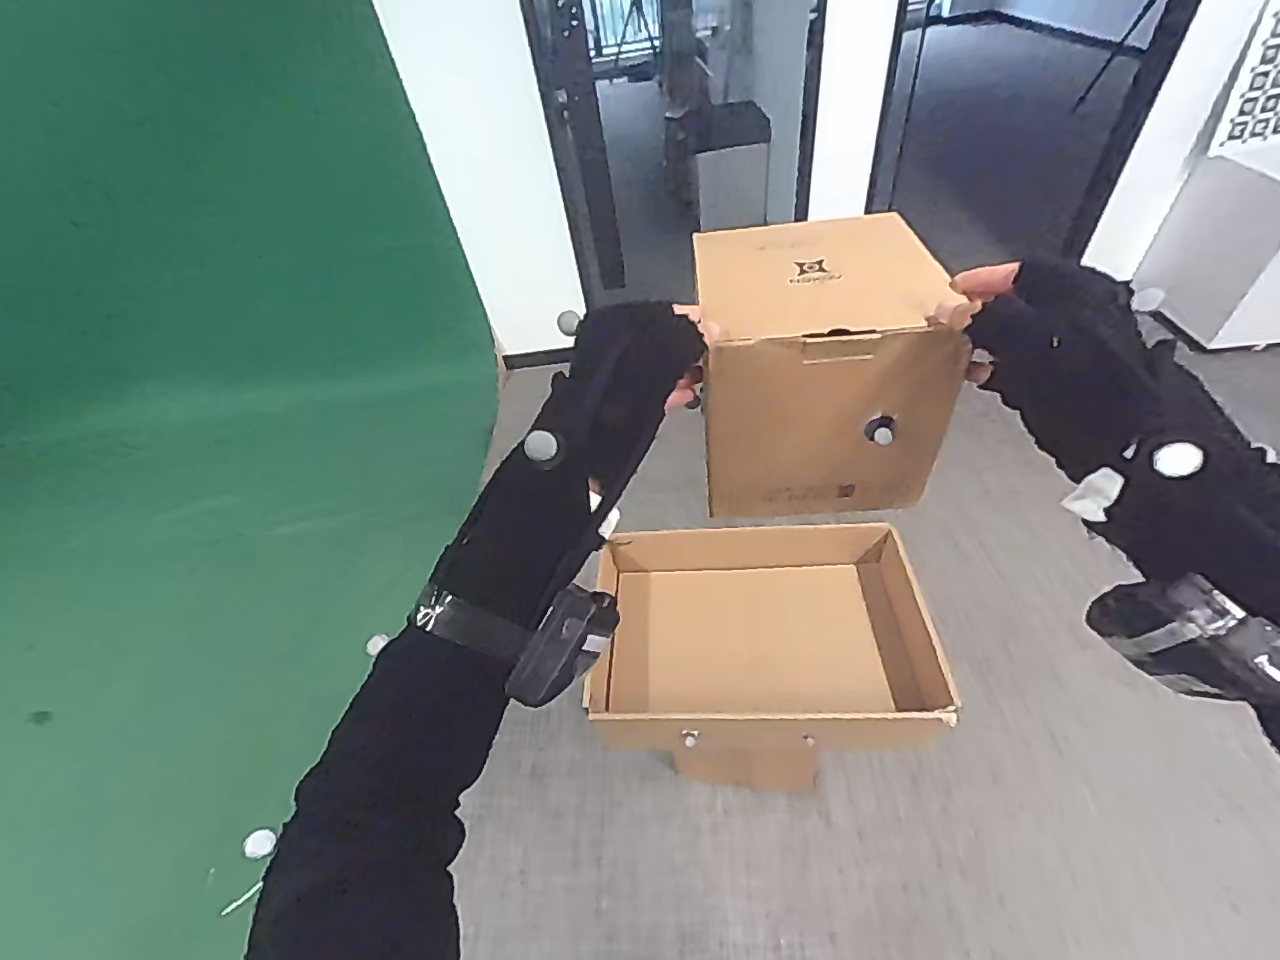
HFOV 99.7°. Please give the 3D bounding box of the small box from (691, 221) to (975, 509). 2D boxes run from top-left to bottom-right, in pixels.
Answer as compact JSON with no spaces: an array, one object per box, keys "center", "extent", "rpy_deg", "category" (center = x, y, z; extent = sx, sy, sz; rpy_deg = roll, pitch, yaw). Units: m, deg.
[{"center":[0.131,-0.088,0.443],"extent":[0.168,0.176,0.179],"rpy_deg":[-4,44,4],"category":"small box"}]
